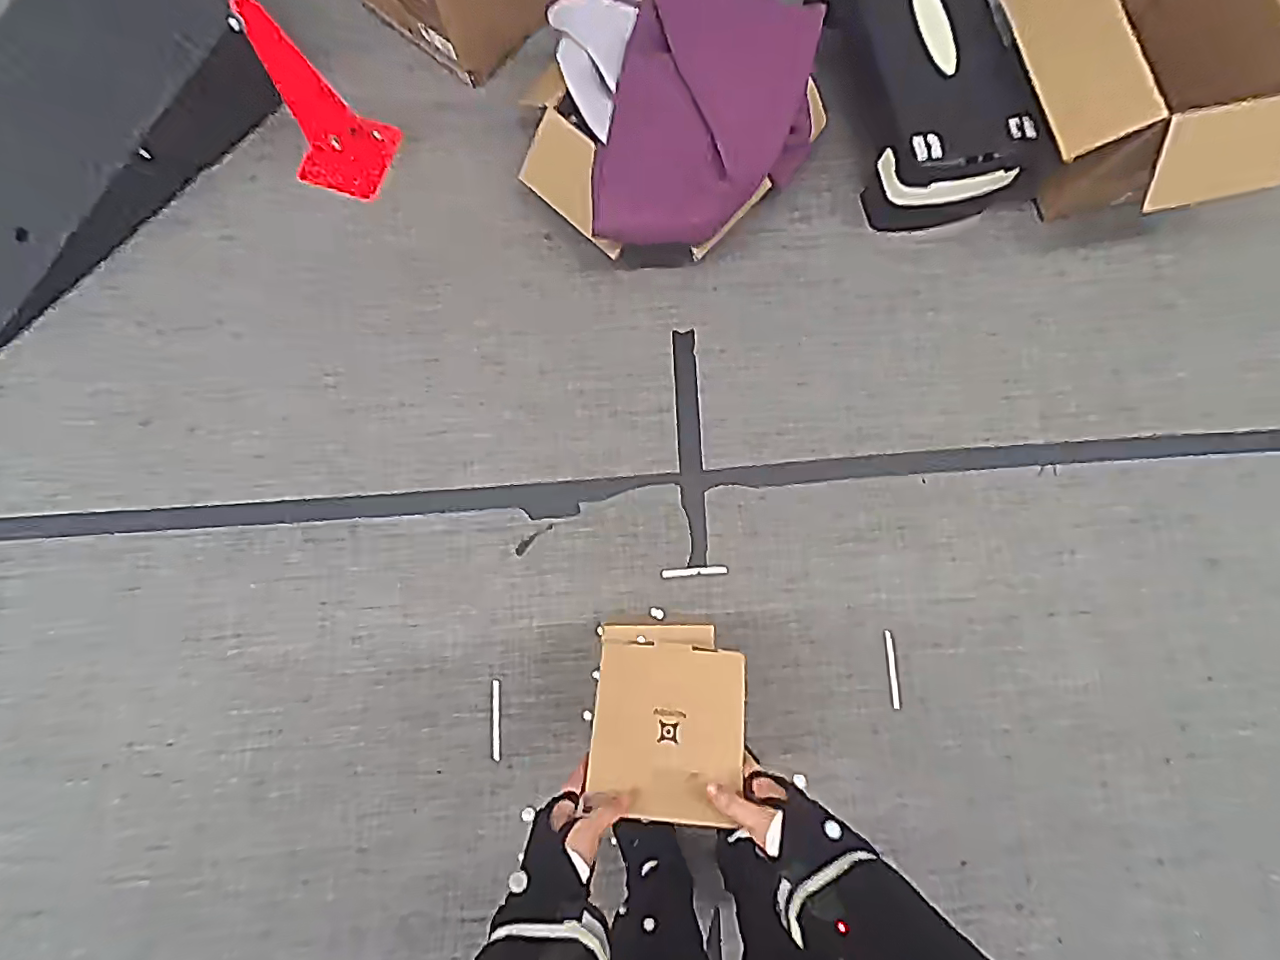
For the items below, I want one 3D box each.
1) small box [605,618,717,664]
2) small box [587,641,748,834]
[{"bbox_3d":[0.028,0.312,0.851,0.168,0.176,0.179,0,81,0],"label":"small box"},{"bbox_3d":[0.031,0.305,0.650,0.168,0.176,0.179,5,64,1],"label":"small box"}]
